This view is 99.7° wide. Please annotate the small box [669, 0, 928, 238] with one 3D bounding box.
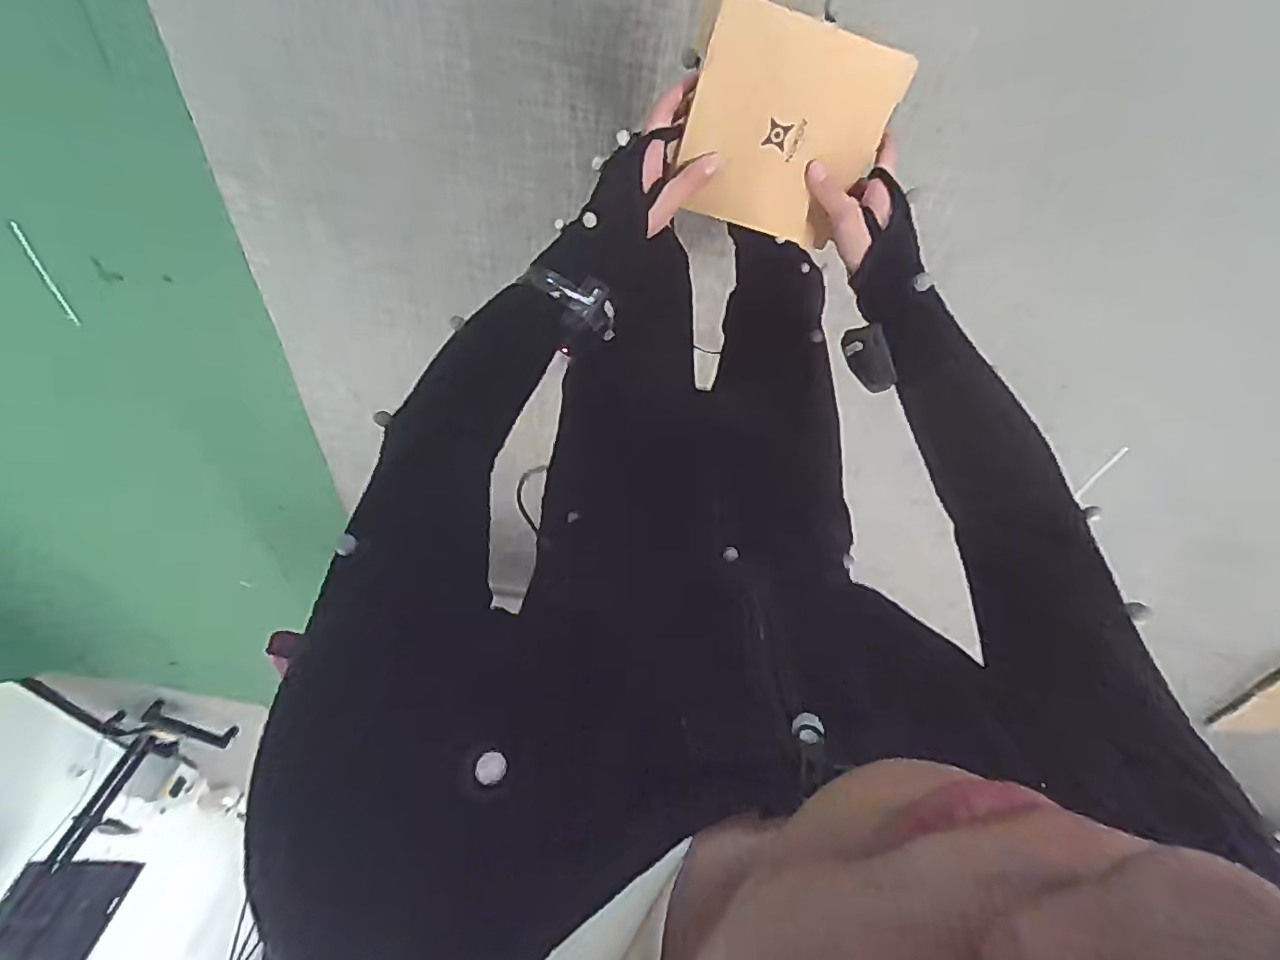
[{"bbox_3d":[0.133,-0.374,0.537,0.179,0.176,0.168,11,136,-10],"label":"small box"}]
